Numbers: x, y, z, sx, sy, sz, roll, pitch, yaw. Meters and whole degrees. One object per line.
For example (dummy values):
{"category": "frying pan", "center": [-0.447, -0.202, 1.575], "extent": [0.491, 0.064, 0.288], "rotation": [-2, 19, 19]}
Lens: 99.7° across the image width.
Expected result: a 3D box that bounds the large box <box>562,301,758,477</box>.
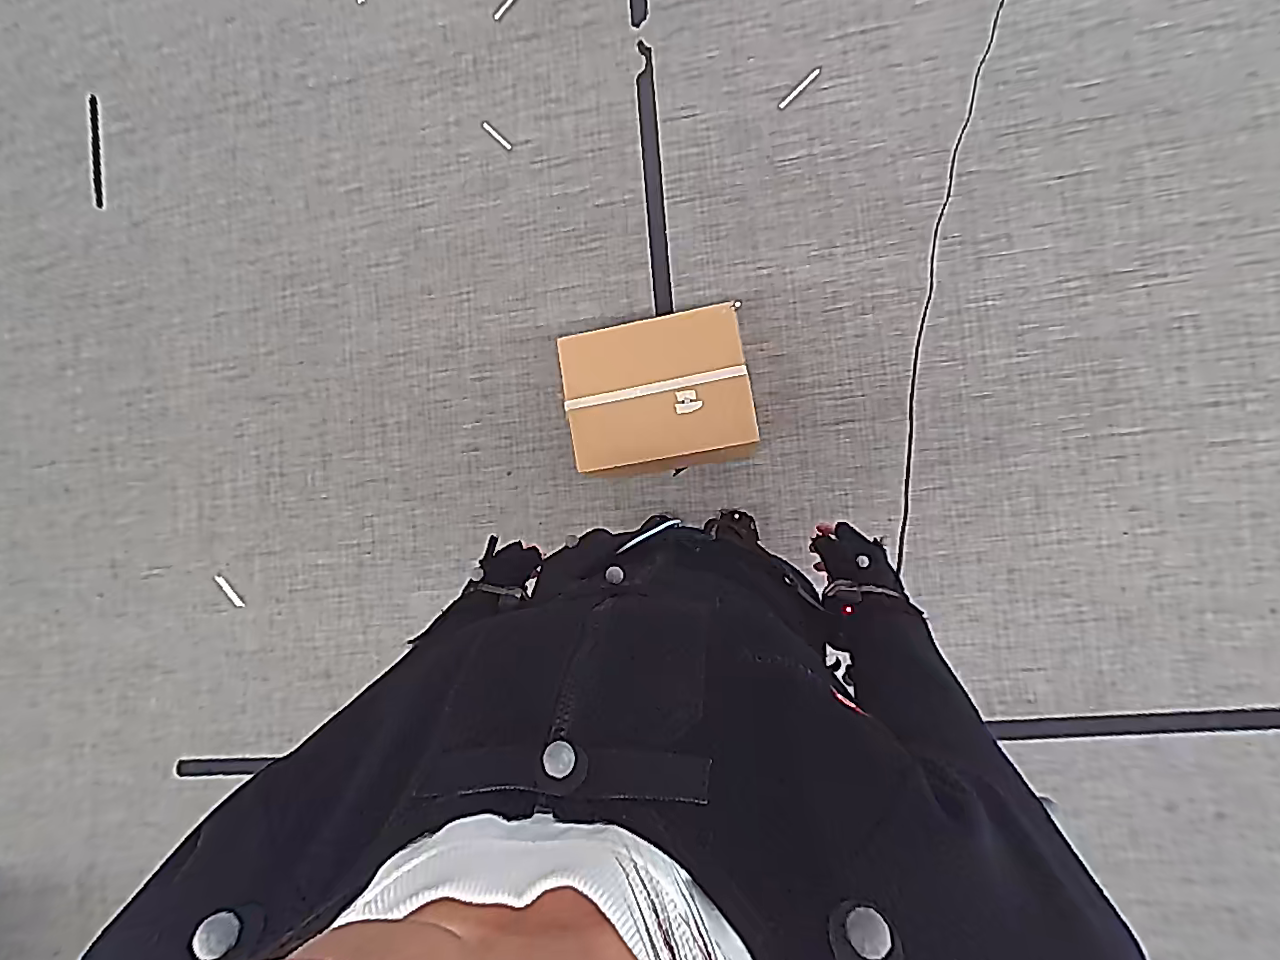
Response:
{"category": "large box", "center": [0.058, -0.200, 1.348], "extent": [0.408, 0.320, 0.320], "rotation": [-10, 86, 8]}
